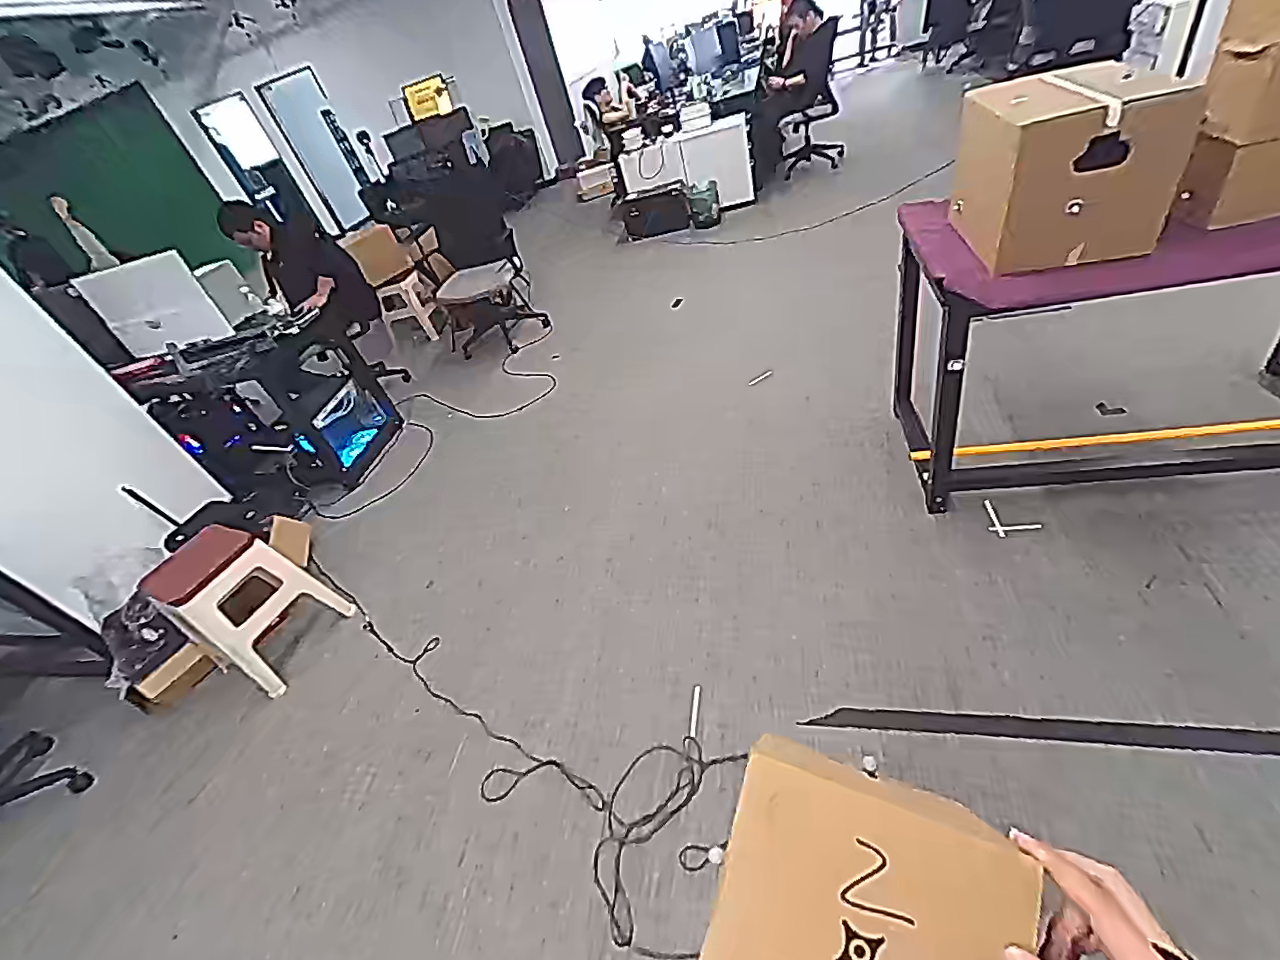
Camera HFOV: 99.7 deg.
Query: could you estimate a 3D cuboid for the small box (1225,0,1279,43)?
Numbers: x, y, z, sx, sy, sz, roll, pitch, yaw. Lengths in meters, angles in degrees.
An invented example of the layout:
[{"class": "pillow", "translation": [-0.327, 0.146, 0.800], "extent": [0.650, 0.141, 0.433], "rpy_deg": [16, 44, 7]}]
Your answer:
[{"class": "small box", "translation": [1.230, -0.912, 0.969], "extent": [0.168, 0.176, 0.179], "rpy_deg": [-8, 41, 13]}]
